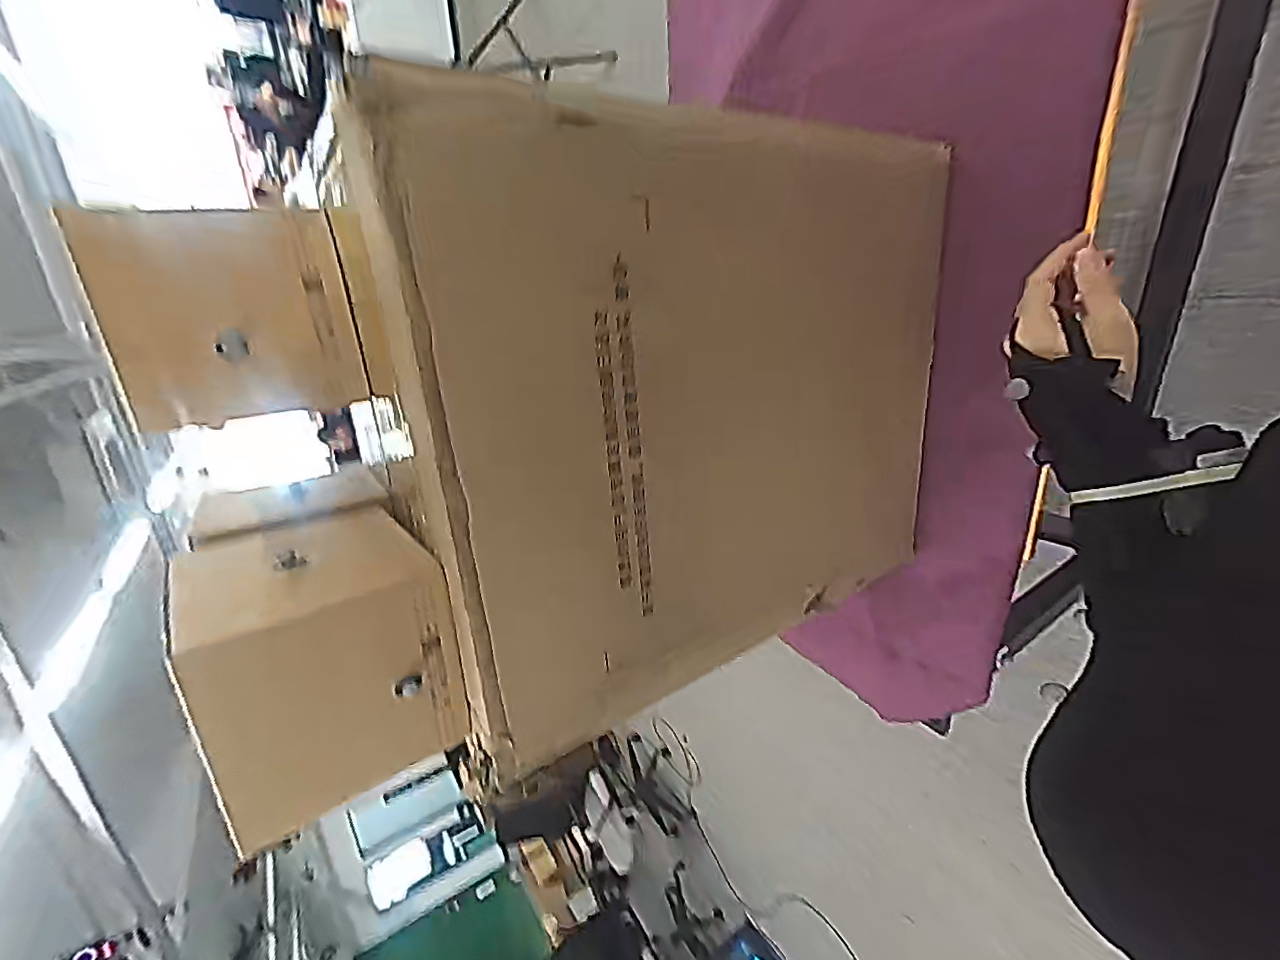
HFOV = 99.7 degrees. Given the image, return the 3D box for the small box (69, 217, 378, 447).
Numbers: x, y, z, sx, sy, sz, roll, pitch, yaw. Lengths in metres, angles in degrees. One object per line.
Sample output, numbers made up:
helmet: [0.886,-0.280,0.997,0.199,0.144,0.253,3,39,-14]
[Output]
small box: [-0.357,-0.140,0.501,0.179,0.176,0.168,21,122,55]
